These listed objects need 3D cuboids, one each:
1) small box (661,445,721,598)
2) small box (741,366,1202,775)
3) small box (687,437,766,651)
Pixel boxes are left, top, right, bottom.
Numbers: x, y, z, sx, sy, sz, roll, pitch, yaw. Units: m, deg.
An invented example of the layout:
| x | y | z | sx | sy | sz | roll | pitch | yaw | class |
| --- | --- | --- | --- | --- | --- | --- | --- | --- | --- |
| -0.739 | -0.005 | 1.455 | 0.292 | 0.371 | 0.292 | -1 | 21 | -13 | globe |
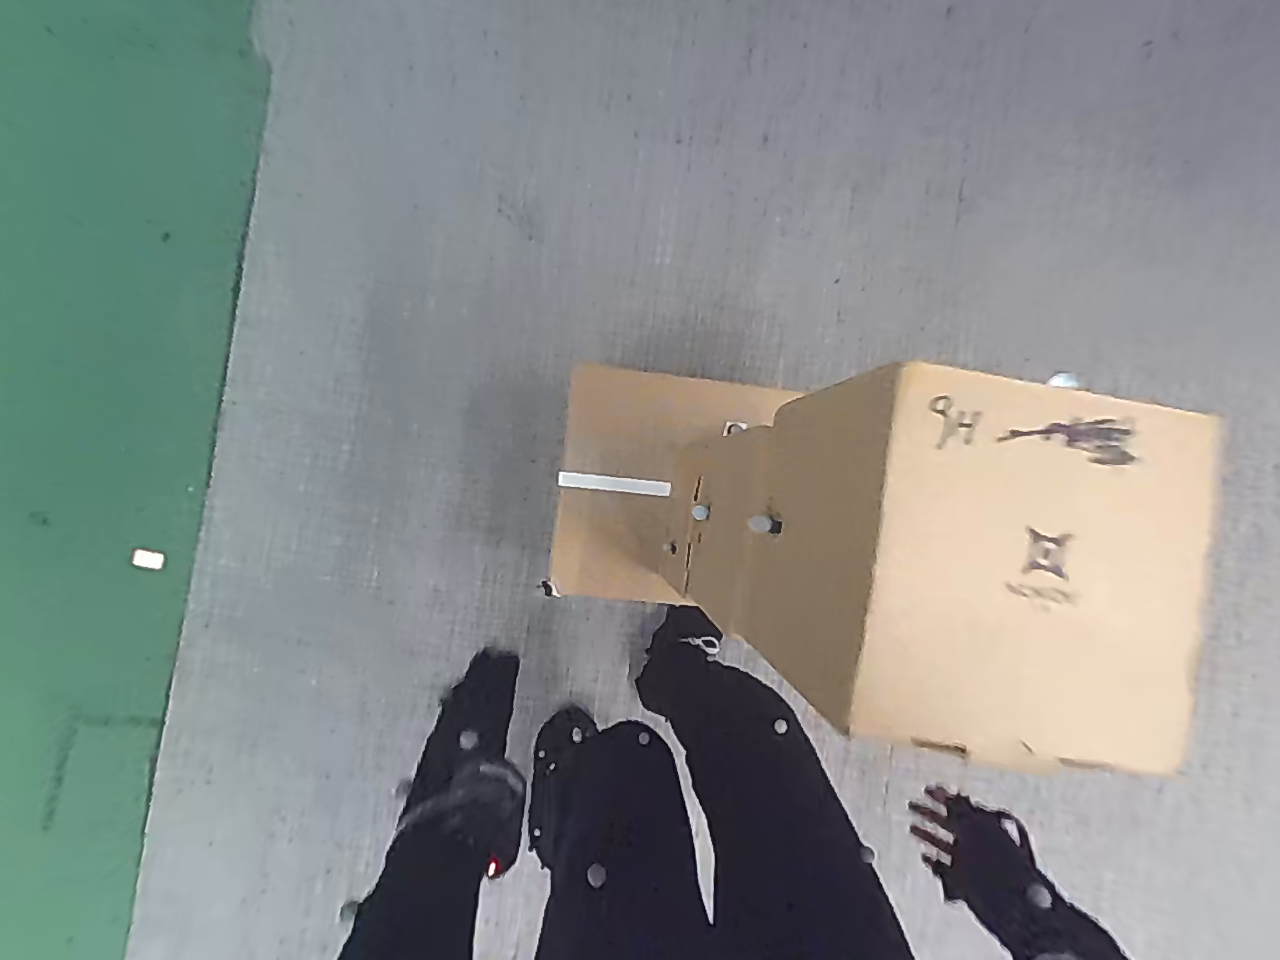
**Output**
| x | y | z | sx | sy | sz | roll | pitch | yaw | class |
| --- | --- | --- | --- | --- | --- | --- | --- | --- | --- |
| 0.127 | 0.055 | 0.660 | 0.179 | 0.176 | 0.168 | 8 | 90 | -7 | small box |
| 0.170 | 0.044 | 0.335 | 0.168 | 0.176 | 0.179 | 9 | 90 | -5 | small box |
| 0.153 | 0.054 | 0.498 | 0.179 | 0.176 | 0.168 | 6 | 90 | -7 | small box |
